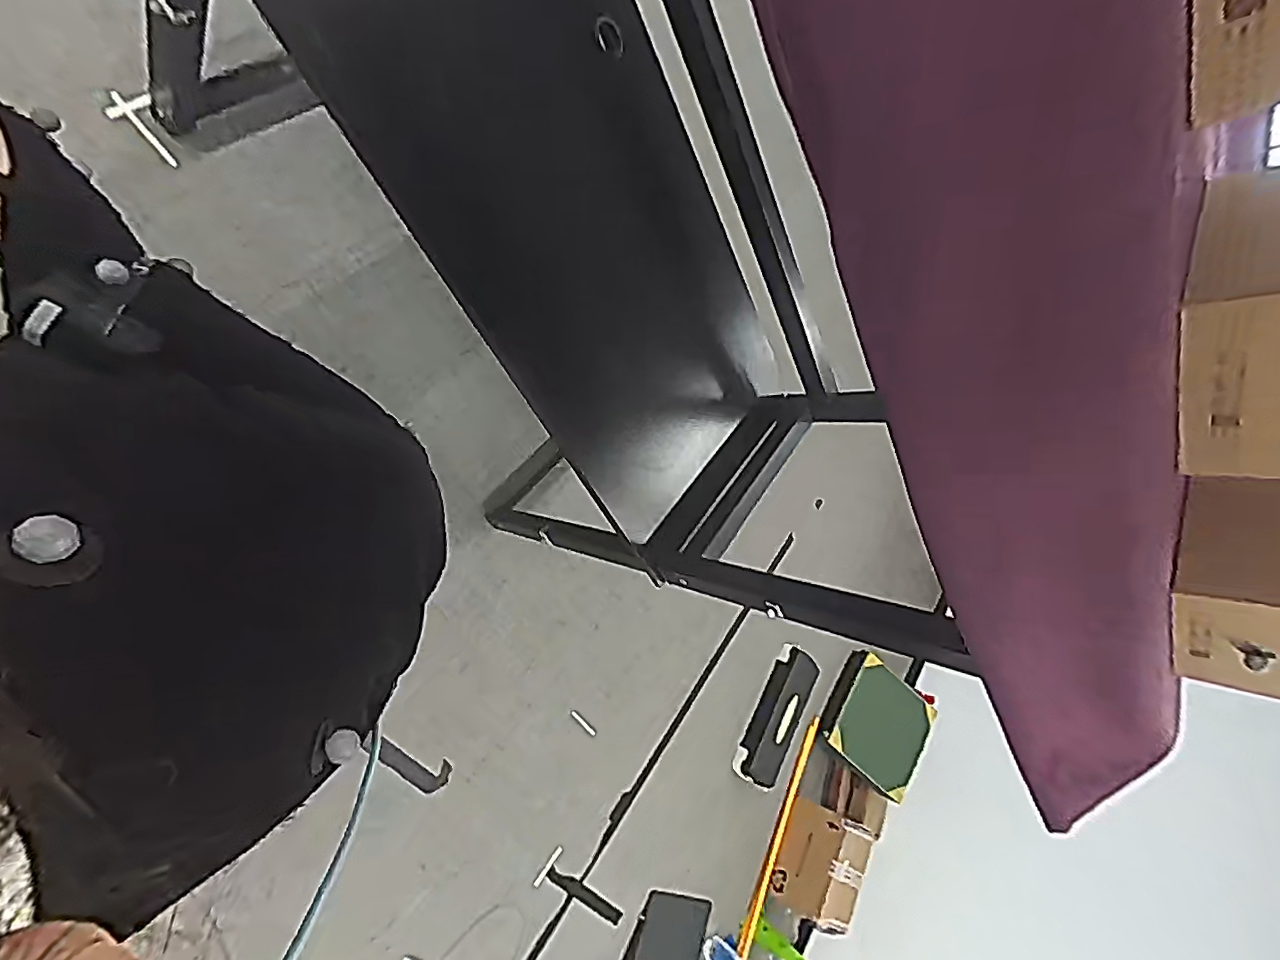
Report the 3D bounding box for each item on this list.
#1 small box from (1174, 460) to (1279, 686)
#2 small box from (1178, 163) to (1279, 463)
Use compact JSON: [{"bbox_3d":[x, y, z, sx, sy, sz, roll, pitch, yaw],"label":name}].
[{"bbox_3d":[0.624,0.083,0.501,0.168,0.176,0.179,50,61,-32],"label":"small box"},{"bbox_3d":[0.506,-0.122,0.382,0.179,0.176,0.168,-53,126,-26],"label":"small box"}]
